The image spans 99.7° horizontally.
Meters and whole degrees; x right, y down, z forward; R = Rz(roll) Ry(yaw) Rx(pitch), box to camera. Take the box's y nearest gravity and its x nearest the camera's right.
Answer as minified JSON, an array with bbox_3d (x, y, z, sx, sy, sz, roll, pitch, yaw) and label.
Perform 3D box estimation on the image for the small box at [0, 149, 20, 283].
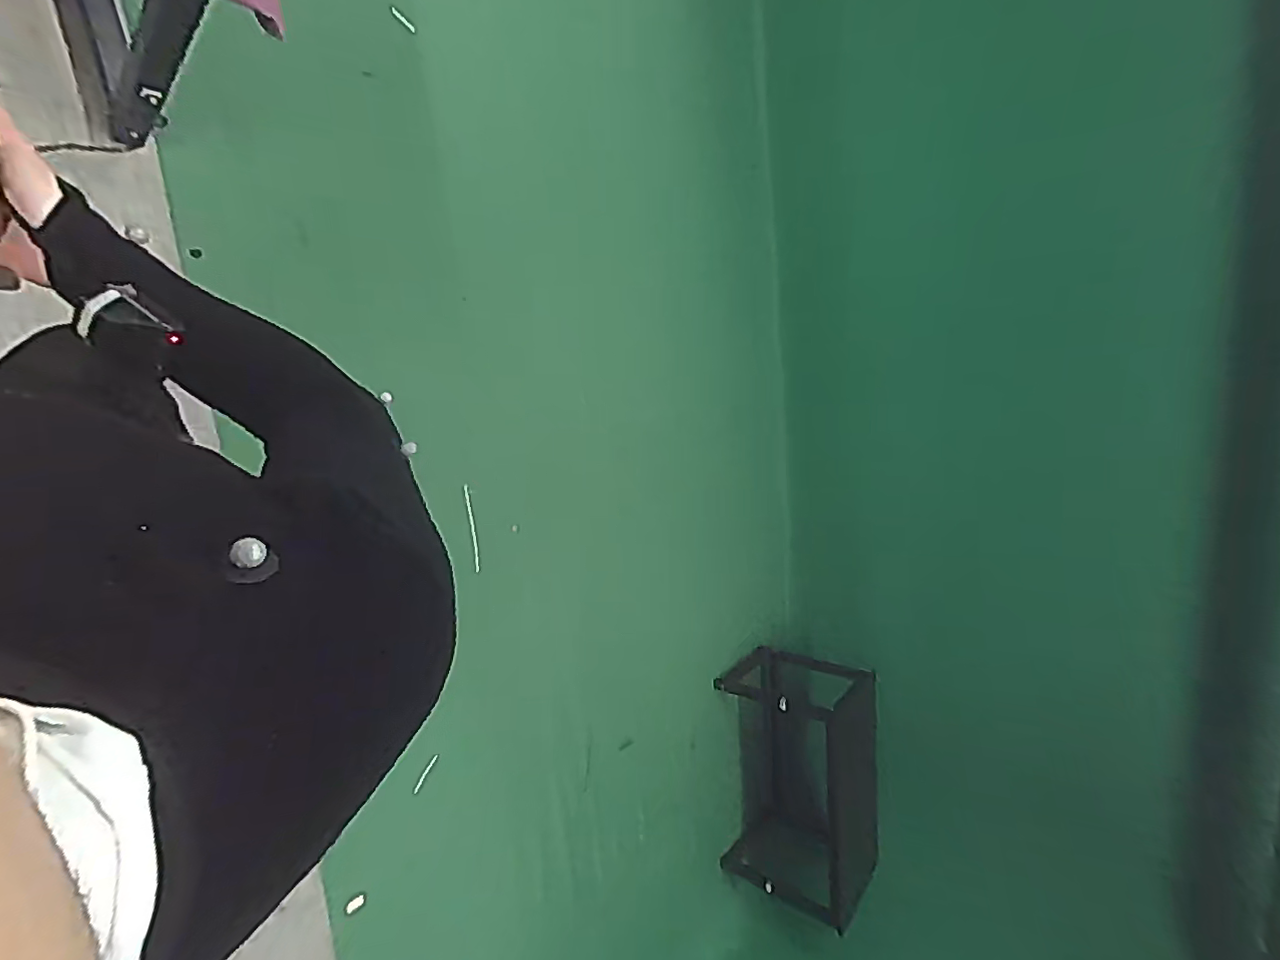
[{"bbox_3d":[-0.684,-0.292,0.472,0.168,0.176,0.179,-10,96,-45],"label":"small box"}]
